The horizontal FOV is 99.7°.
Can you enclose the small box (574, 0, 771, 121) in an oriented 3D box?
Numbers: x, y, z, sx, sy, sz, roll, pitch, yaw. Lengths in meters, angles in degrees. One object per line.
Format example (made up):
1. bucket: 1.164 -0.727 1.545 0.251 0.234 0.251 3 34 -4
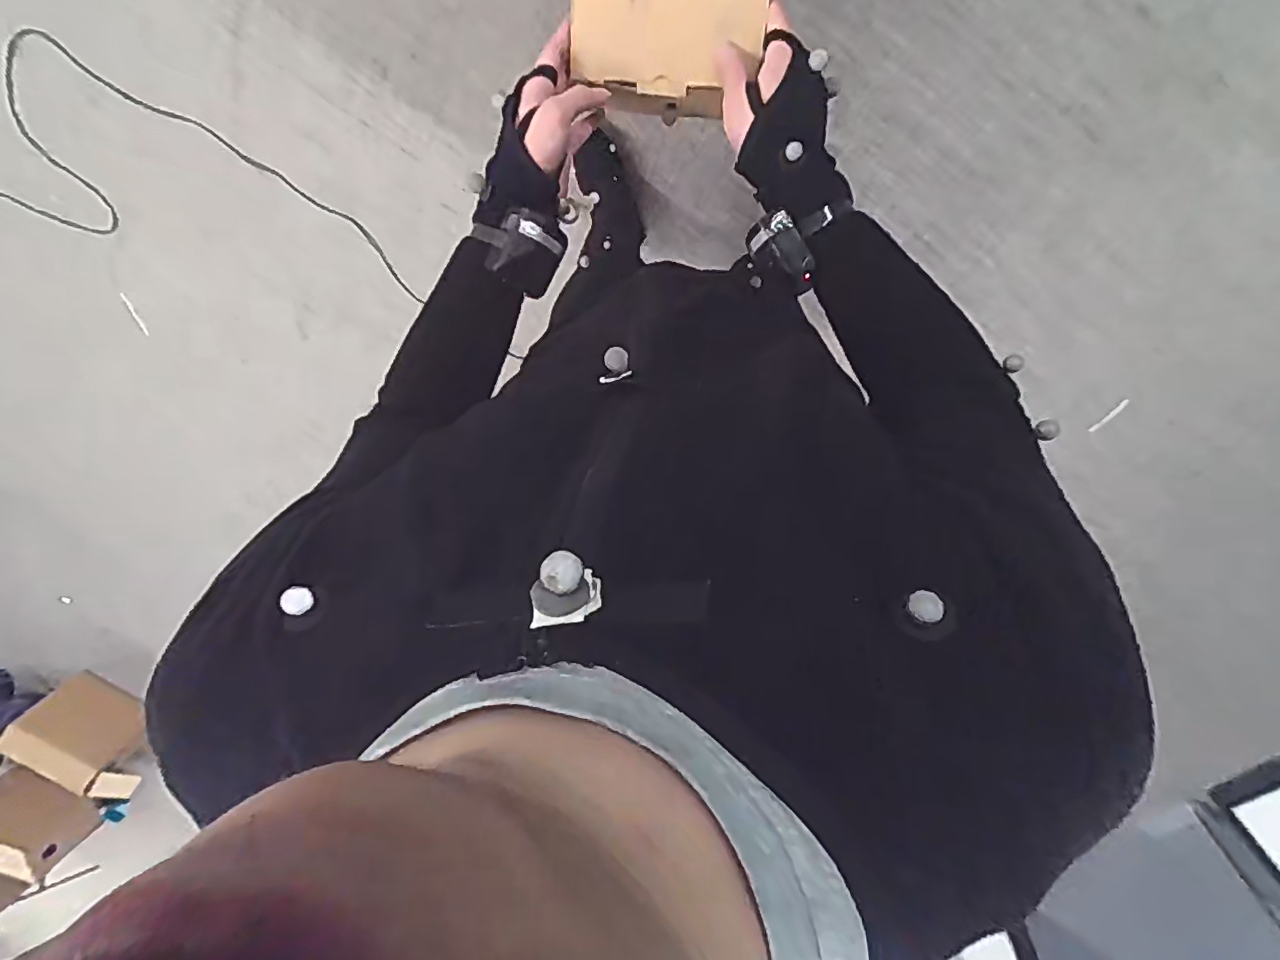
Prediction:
1. small box: 0.039 -0.452 0.509 0.168 0.176 0.179 7 118 6
